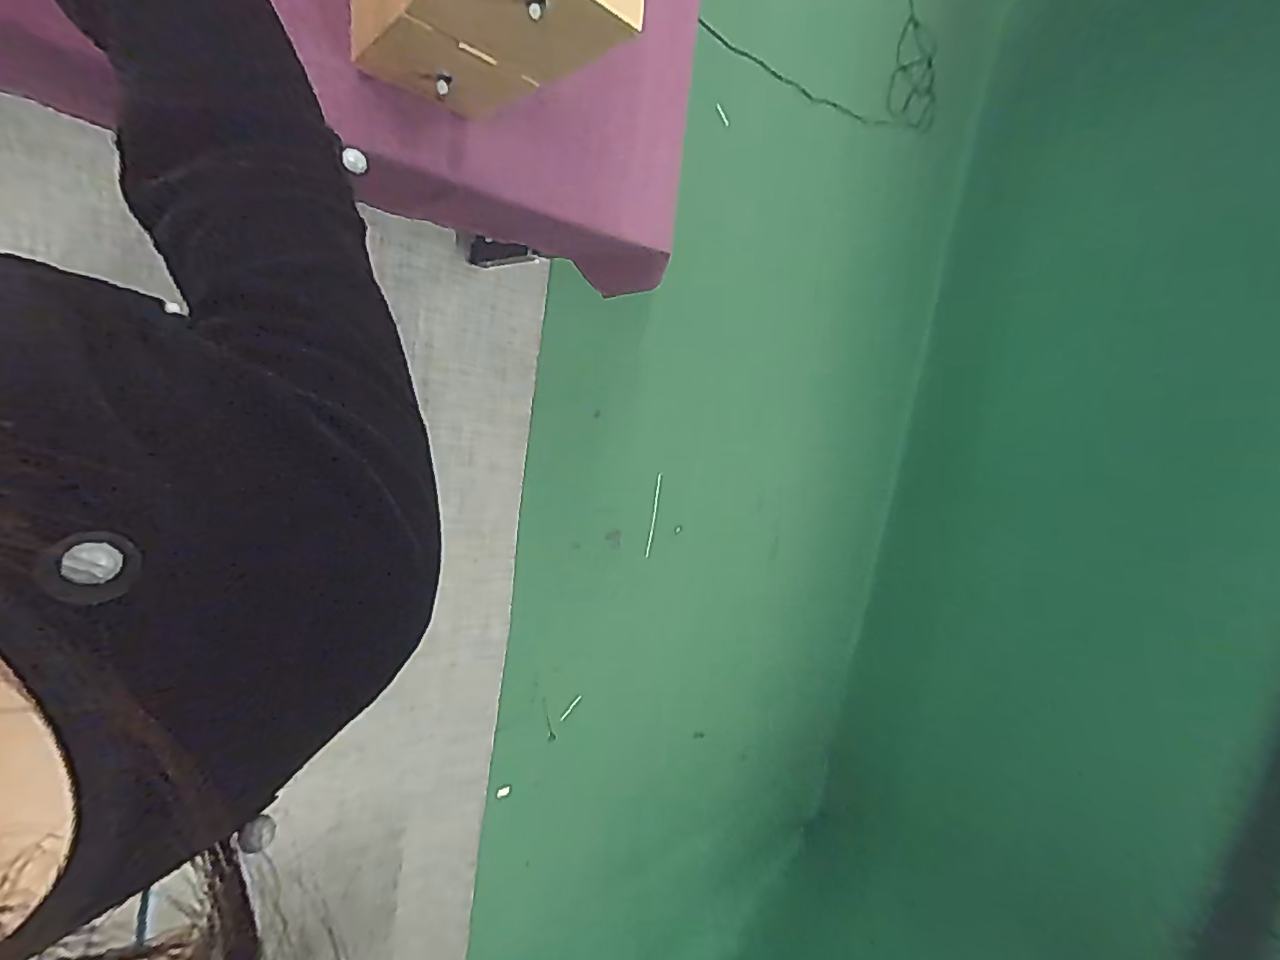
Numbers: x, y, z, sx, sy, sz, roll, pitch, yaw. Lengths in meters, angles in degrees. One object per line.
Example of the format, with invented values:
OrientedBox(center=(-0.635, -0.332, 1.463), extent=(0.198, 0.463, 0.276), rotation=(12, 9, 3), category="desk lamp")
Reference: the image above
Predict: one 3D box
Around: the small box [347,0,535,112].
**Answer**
OrientedBox(center=(-0.230, -0.571, 0.634), extent=(0.168, 0.176, 0.179), rotation=(-5, 106, -44), category="small box")

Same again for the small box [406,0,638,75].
OrientedBox(center=(-0.115, -0.534, 0.521), extent=(0.179, 0.176, 0.168), rotation=(-6, 106, -44), category="small box")
